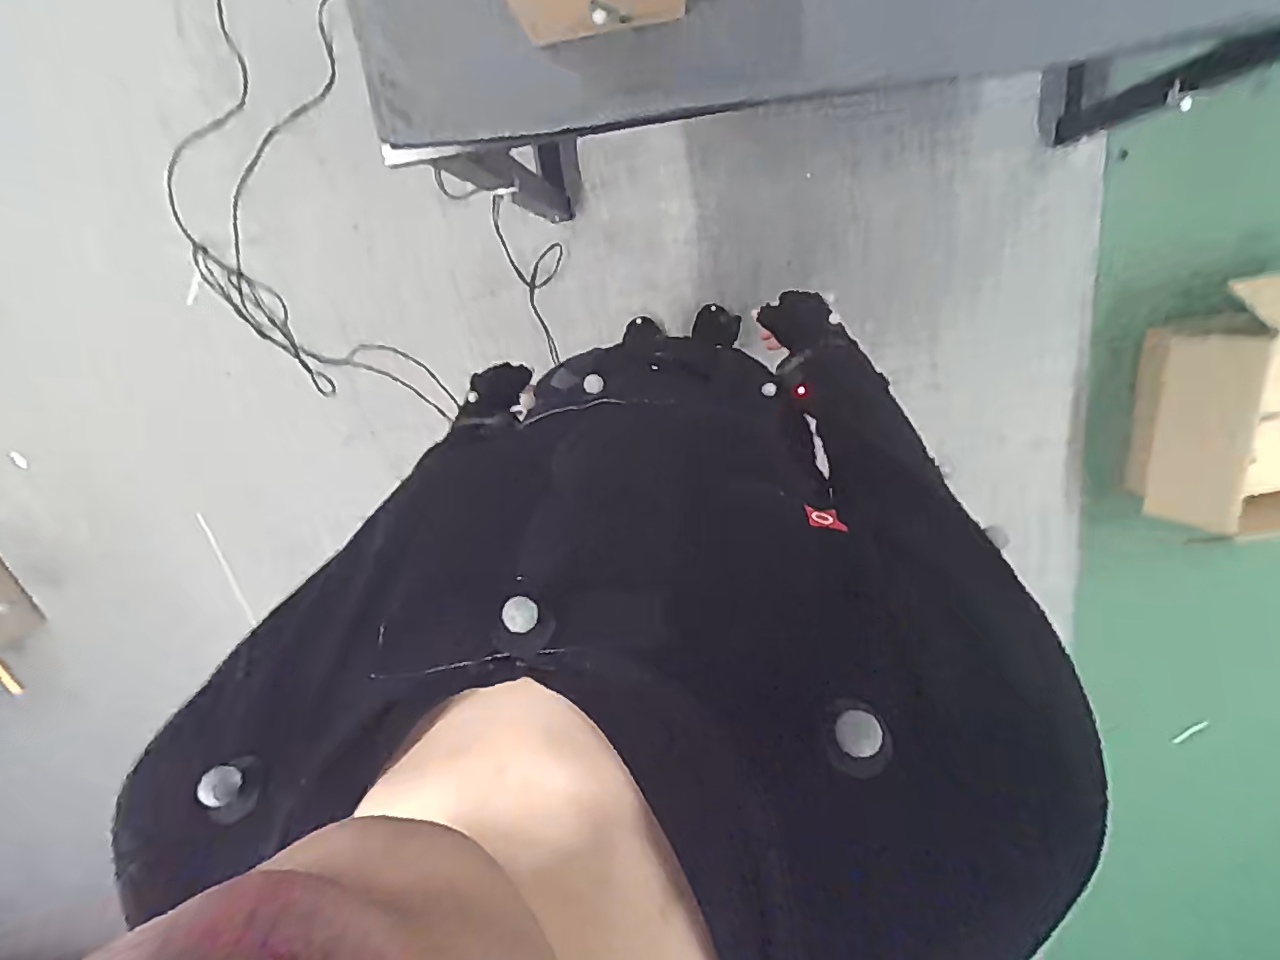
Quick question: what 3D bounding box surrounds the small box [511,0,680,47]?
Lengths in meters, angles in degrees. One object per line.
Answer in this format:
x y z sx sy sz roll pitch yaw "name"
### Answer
-0.054 -0.529 0.471 0.168 0.176 0.179 -5 107 7 "small box"
